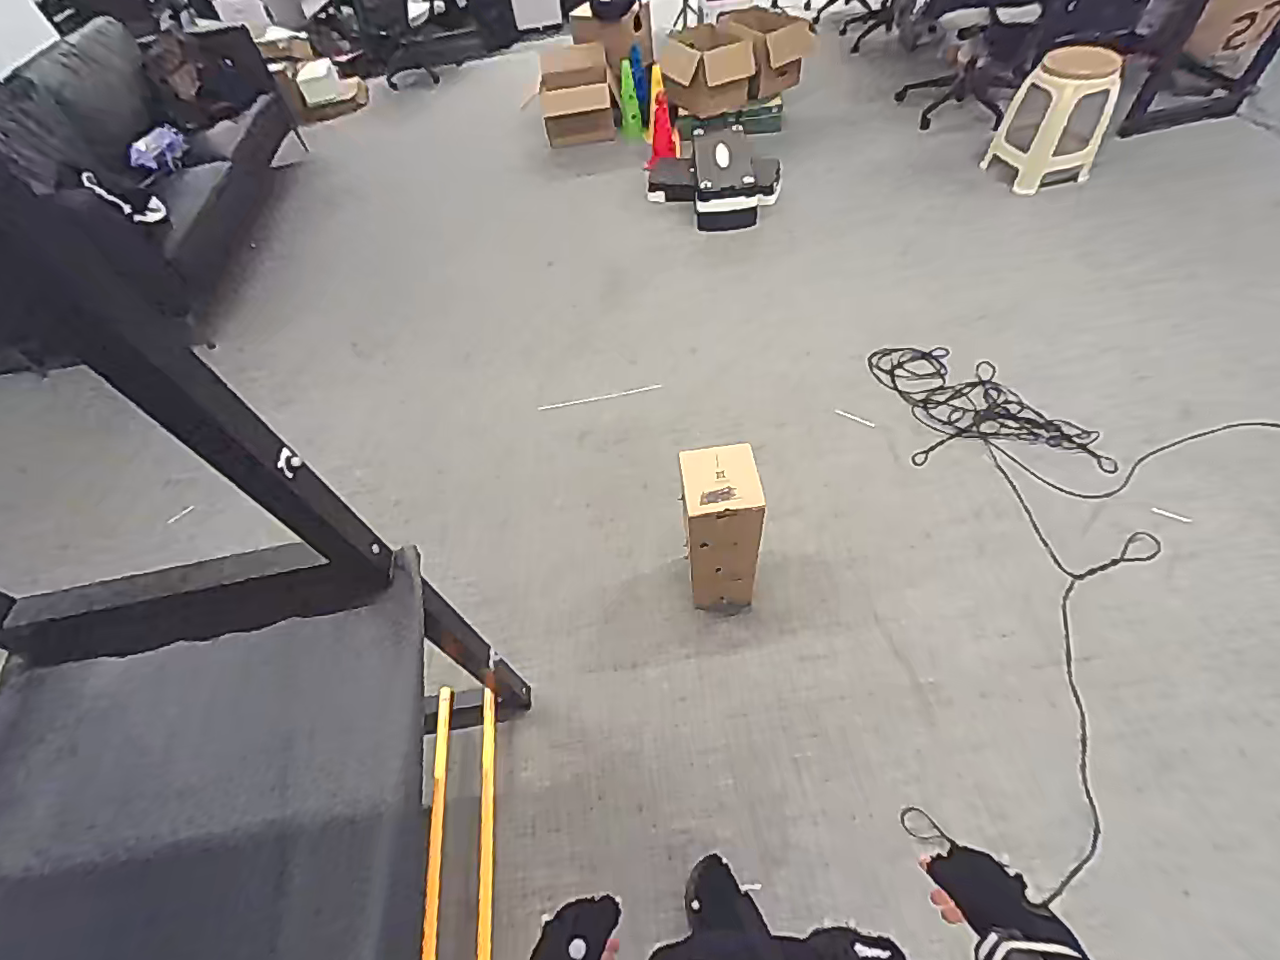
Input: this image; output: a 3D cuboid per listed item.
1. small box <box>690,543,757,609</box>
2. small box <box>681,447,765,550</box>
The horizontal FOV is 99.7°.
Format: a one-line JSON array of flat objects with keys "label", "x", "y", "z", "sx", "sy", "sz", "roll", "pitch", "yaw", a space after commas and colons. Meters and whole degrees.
[{"label": "small box", "x": 0.227, "y": 0.242, "z": 1.507, "sx": 0.168, "sy": 0.176, "sz": 0.179, "roll": -6, "pitch": 54, "yaw": 5}, {"label": "small box", "x": 0.188, "y": 0.050, "z": 1.245, "sx": 0.168, "sy": 0.176, "sz": 0.179, "roll": -7, "pitch": 53, "yaw": 2}]
